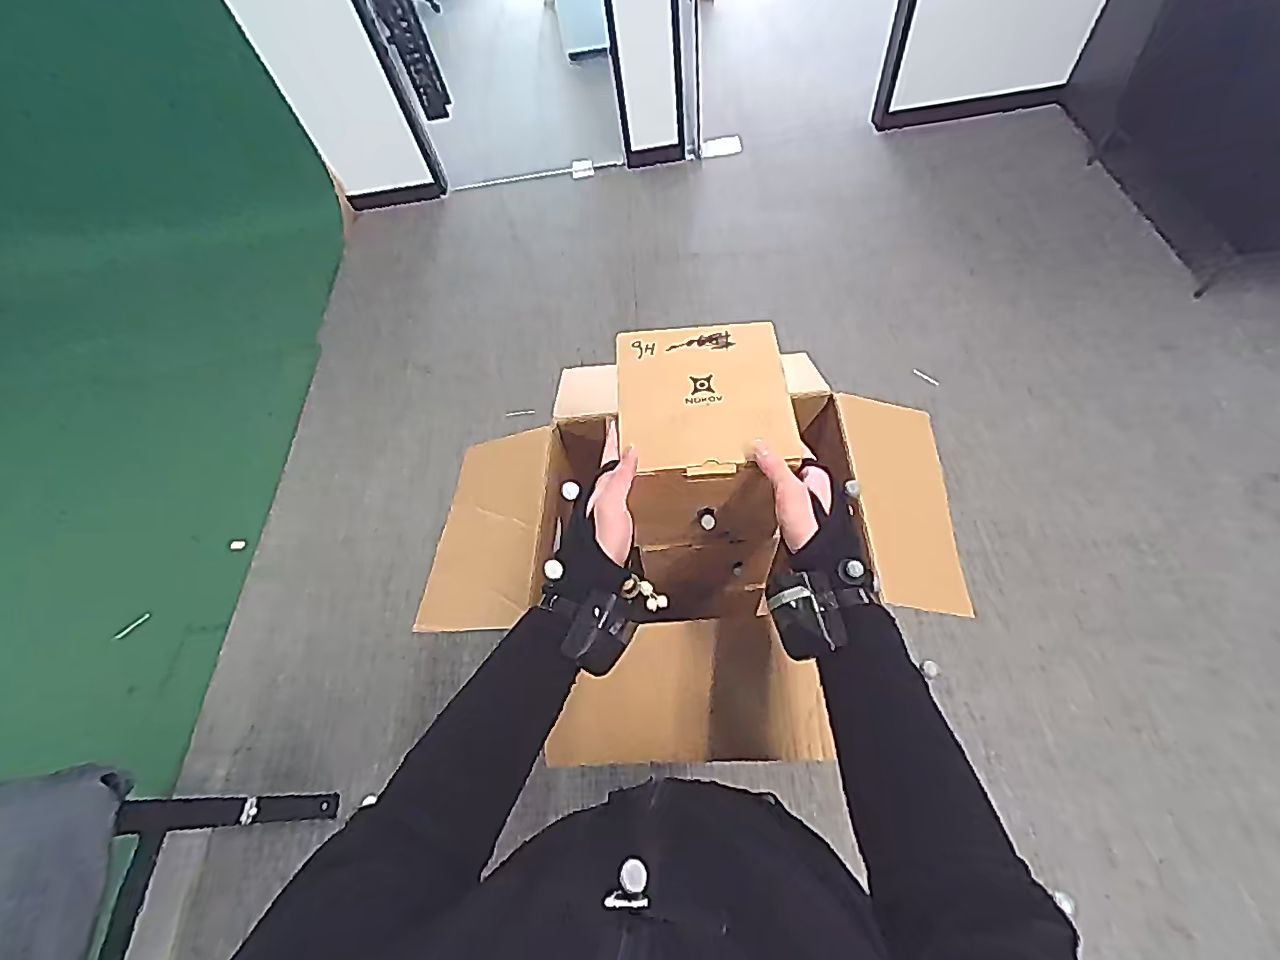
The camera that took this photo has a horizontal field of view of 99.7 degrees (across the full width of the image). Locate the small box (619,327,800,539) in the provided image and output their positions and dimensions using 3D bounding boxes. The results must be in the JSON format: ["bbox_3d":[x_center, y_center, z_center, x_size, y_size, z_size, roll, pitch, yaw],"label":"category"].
[{"bbox_3d":[0.066,-0.041,0.596,0.168,0.176,0.179,-3,62,1],"label":"small box"}]
